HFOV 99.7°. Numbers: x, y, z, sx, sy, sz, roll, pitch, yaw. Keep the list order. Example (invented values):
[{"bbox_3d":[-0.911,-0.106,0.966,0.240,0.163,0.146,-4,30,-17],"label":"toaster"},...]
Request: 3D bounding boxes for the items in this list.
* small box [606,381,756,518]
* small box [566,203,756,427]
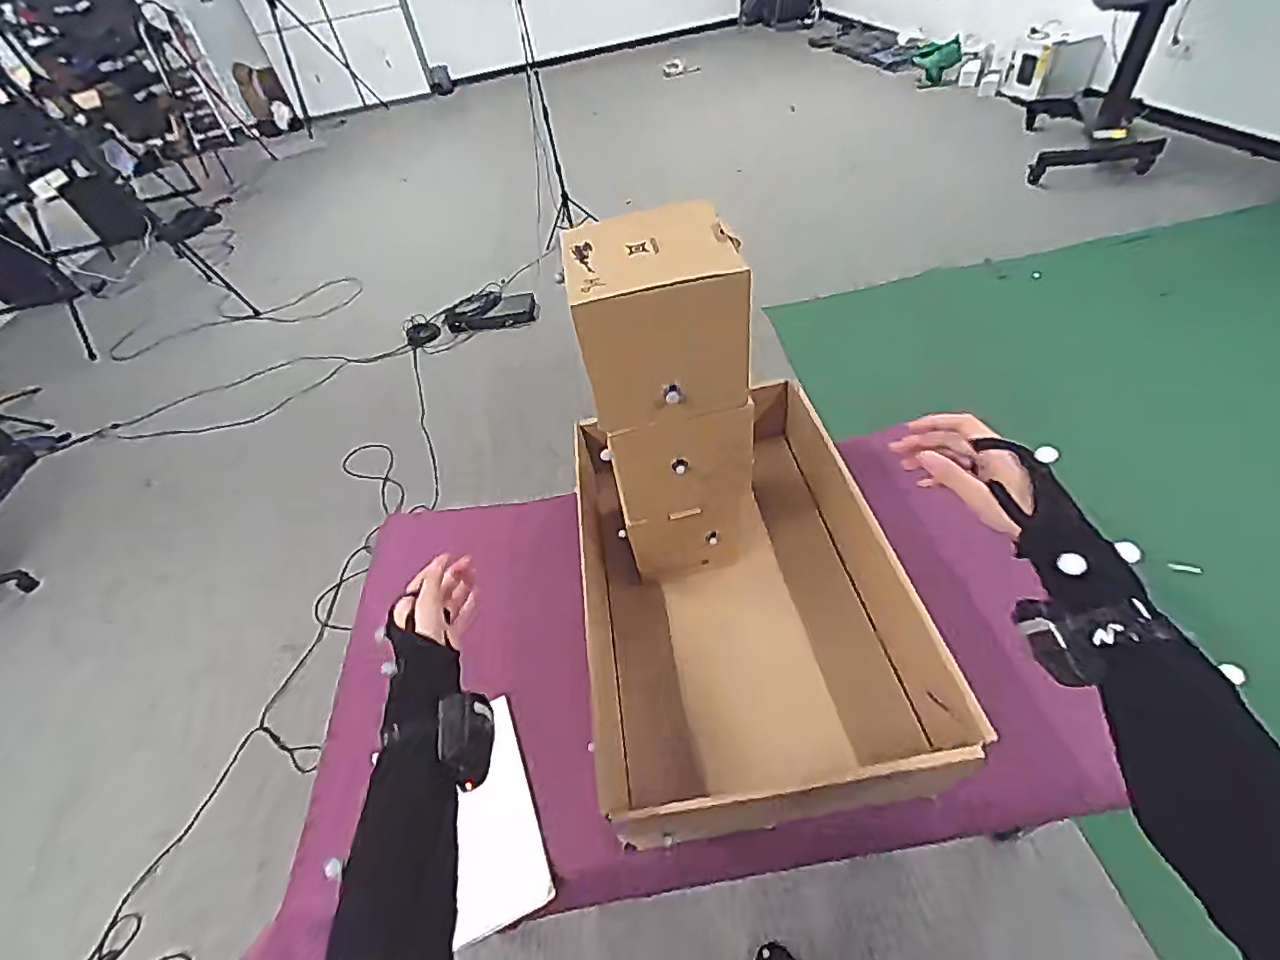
[{"bbox_3d":[0.045,-0.072,0.730,0.179,0.176,0.168,-13,48,-1],"label":"small box"},{"bbox_3d":[0.021,-0.183,0.611,0.179,0.176,0.168,-10,47,-1],"label":"small box"}]
